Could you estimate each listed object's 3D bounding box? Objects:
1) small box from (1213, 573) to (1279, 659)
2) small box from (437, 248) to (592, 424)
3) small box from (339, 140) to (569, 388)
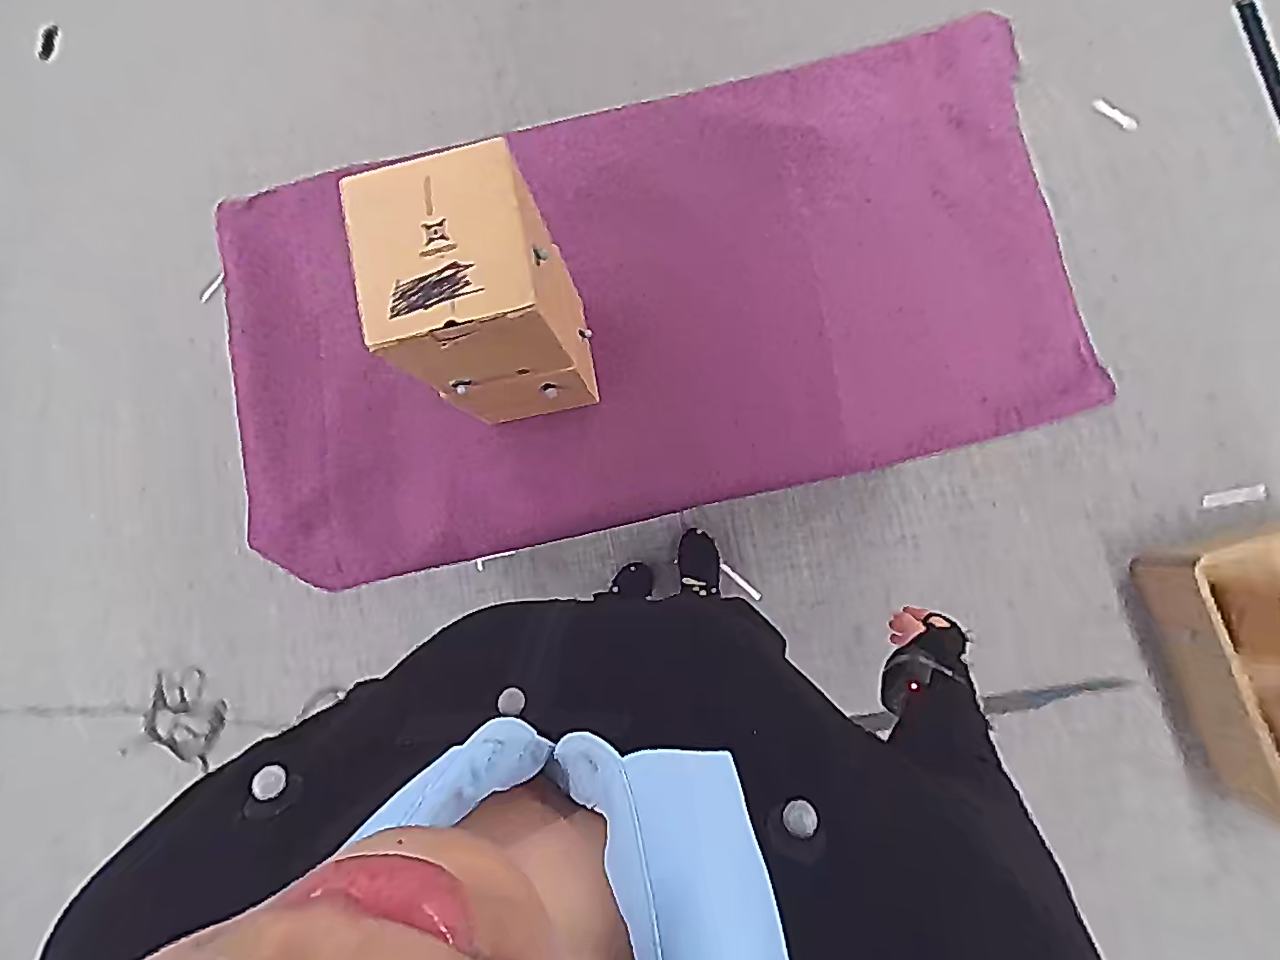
[{"bbox_3d":[1.478,0.305,1.224,0.179,0.176,0.168,-6,85,4],"label":"small box"},{"bbox_3d":[-0.168,-0.184,0.741,0.179,0.176,0.168,-11,83,4],"label":"small box"},{"bbox_3d":[-0.184,-0.209,0.579,0.168,0.176,0.179,-13,82,3],"label":"small box"}]
